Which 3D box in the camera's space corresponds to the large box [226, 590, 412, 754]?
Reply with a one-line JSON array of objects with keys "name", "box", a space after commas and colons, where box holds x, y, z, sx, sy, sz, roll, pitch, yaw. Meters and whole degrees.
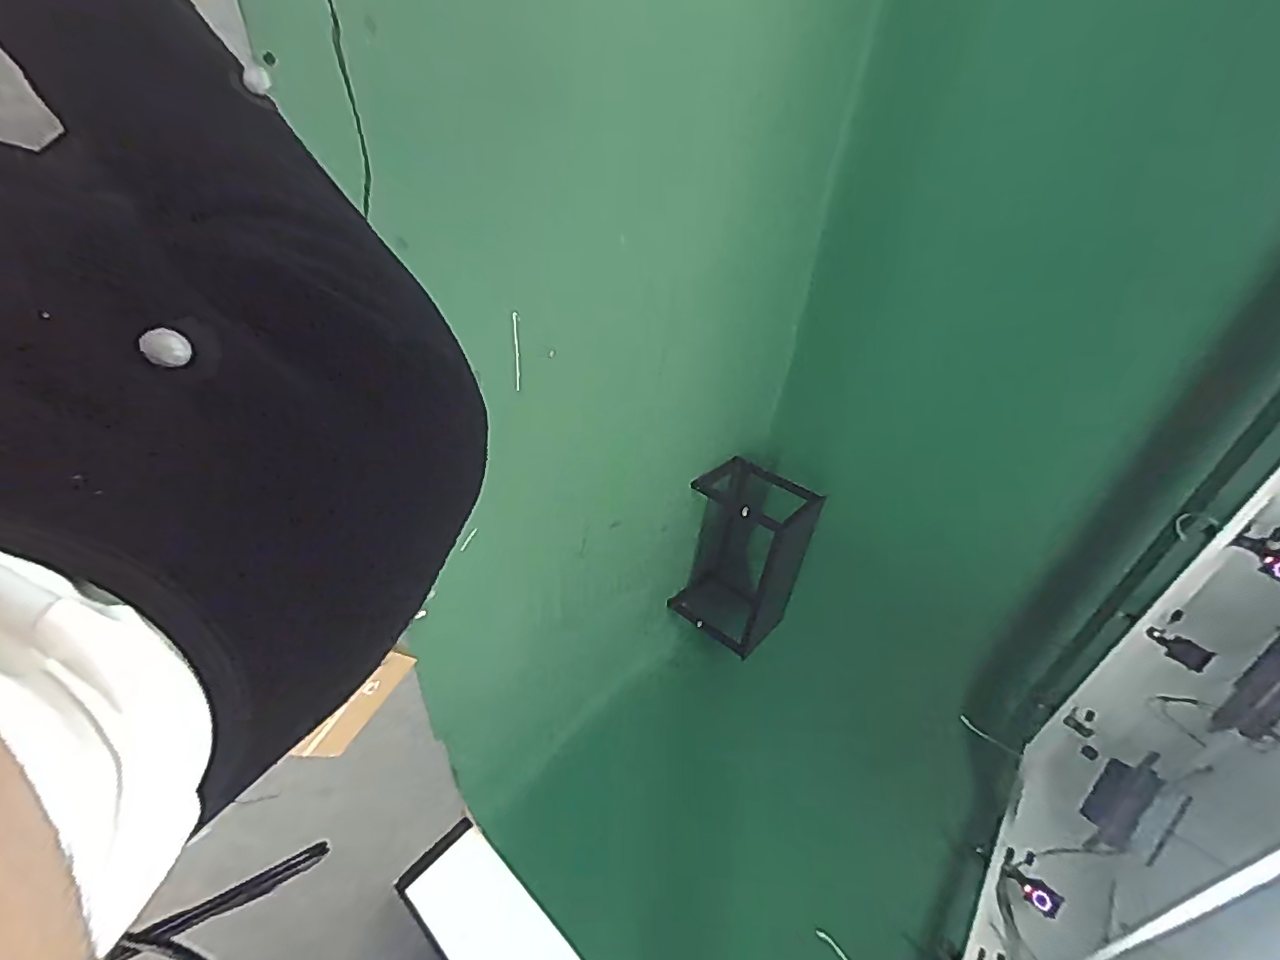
[{"name": "large box", "box": [-1.093, 0.660, 1.858, 0.408, 0.320, 0.320, -54, 150, -13]}]
